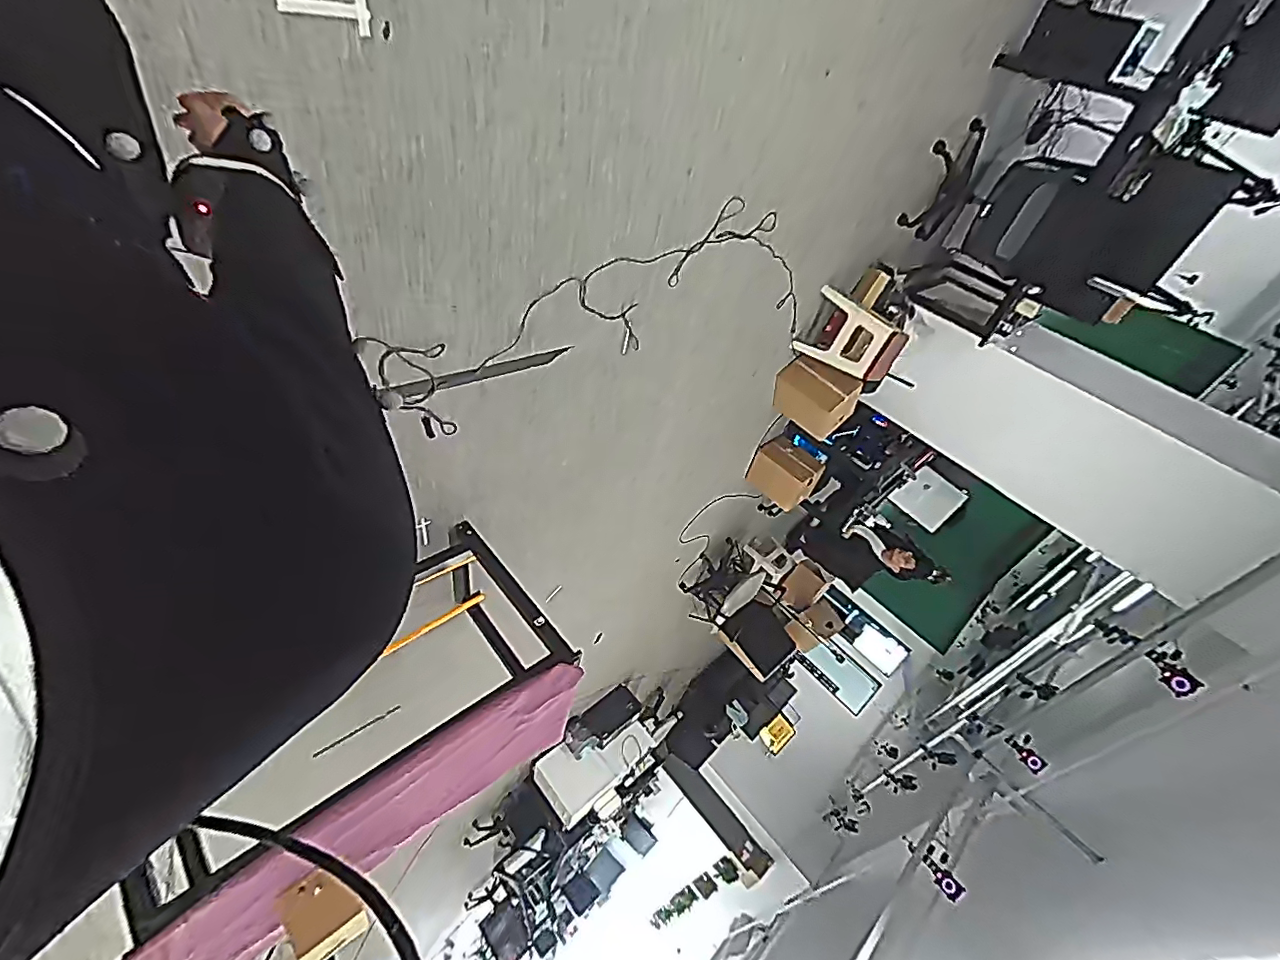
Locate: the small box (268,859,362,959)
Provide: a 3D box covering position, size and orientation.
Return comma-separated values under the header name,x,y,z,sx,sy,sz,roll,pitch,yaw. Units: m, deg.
name,x,y,z,sx,sy,sz,roll,pitch,yaw
small box,-0.879,1.181,1.469,0.168,0.176,0.179,-23,144,-40
